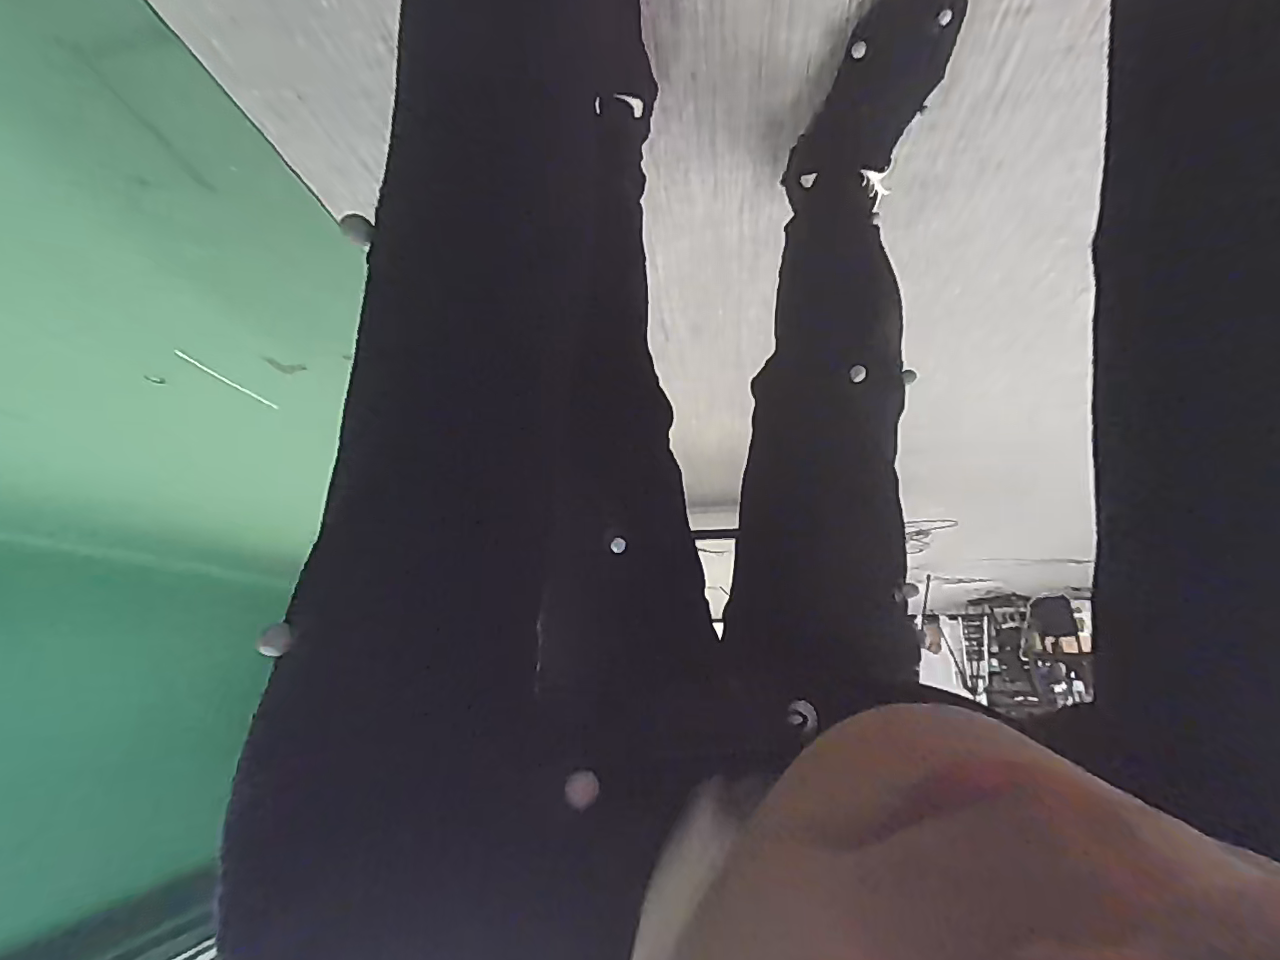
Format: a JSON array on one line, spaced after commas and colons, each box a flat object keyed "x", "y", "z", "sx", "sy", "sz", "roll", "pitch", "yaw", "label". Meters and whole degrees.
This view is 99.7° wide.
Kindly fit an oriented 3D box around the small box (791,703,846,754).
[{"x": 0.688, "y": 0.958, "z": 2.105, "sx": 0.179, "sy": 0.176, "sz": 0.168, "roll": -3, "pitch": 162, "yaw": 9, "label": "small box"}]
